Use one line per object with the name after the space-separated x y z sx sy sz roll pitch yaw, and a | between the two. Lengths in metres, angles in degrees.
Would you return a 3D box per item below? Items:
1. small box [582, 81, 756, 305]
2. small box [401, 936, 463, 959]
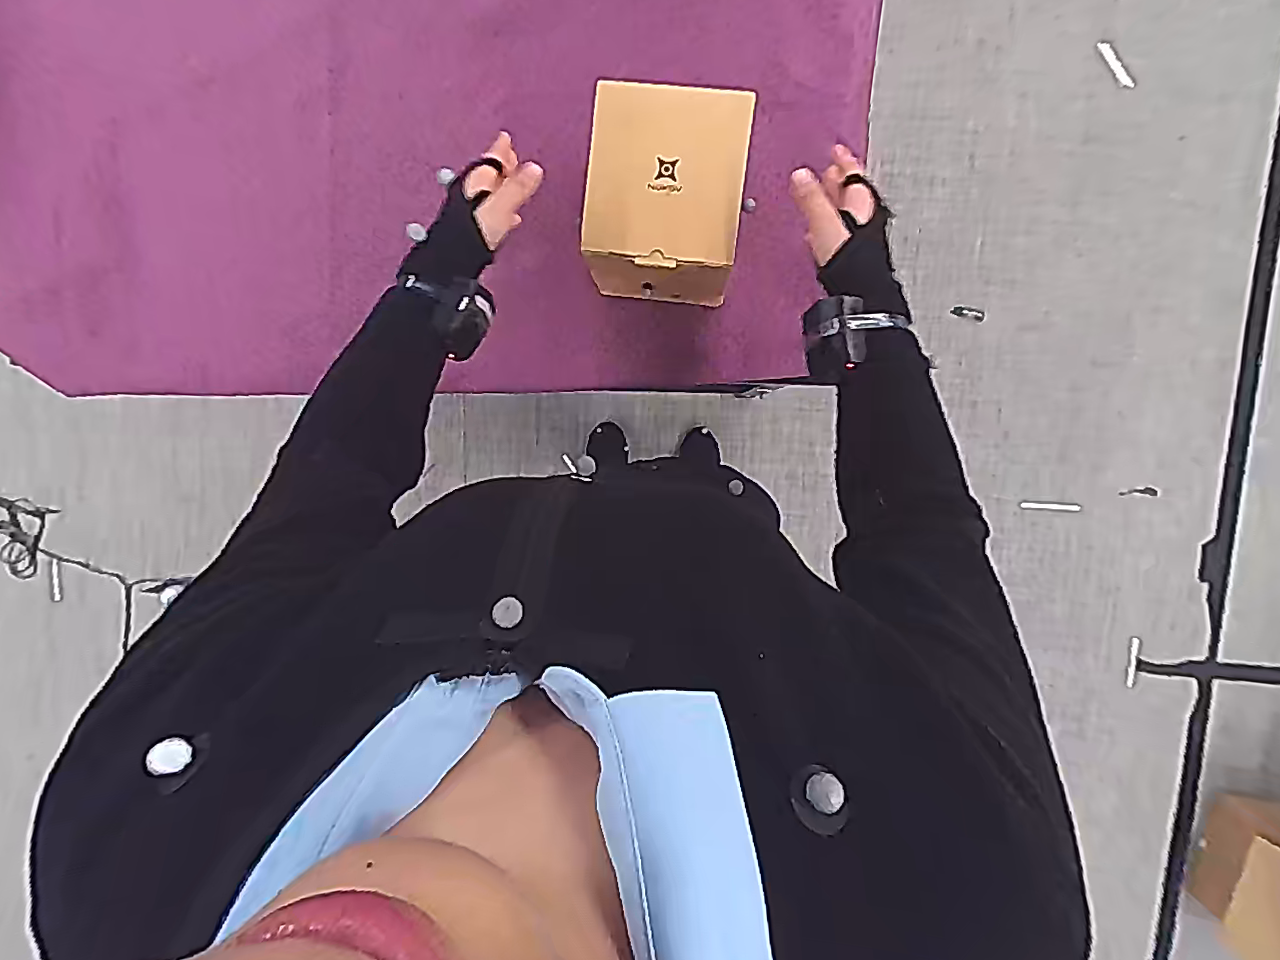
0.032 -0.323 0.640 0.168 0.176 0.179 7 96 3 | small box
-0.622 1.477 1.568 0.168 0.176 0.179 1 96 3 | small box
